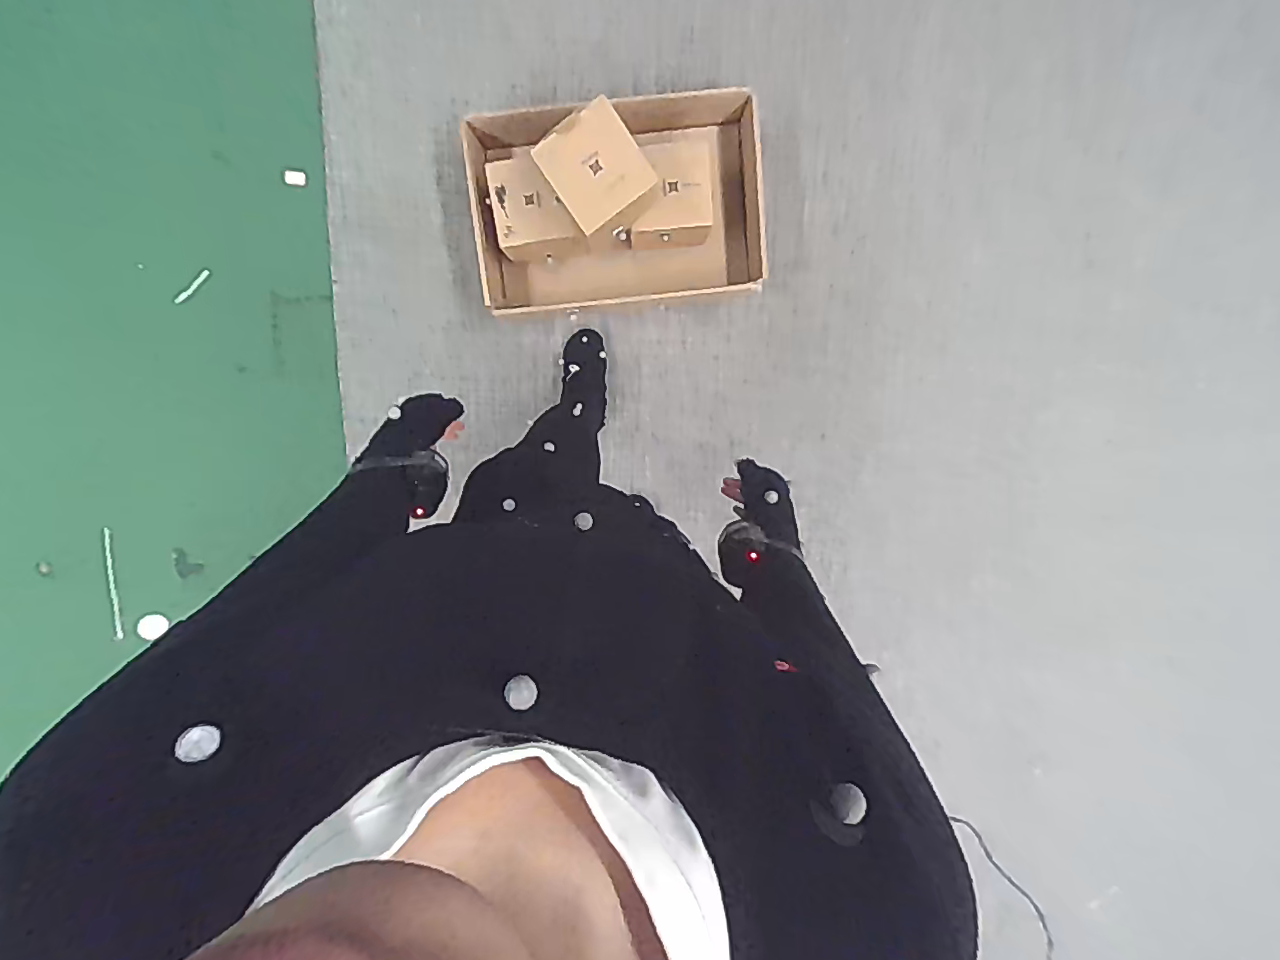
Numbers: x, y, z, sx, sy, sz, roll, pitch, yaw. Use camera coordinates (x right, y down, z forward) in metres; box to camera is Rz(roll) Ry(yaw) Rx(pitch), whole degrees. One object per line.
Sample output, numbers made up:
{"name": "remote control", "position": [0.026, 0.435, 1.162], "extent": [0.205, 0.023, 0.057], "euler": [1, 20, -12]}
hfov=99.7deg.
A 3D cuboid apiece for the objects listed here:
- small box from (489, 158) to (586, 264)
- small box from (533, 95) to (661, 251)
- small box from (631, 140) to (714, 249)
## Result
{"name": "small box", "position": [-0.217, -0.591, 1.196], "extent": [0.179, 0.176, 0.168], "euler": [-9, 100, -1]}
{"name": "small box", "position": [-0.078, -0.572, 1.038], "extent": [0.168, 0.176, 0.179], "euler": [-36, 100, 6]}
{"name": "small box", "position": [0.063, -0.620, 1.194], "extent": [0.179, 0.176, 0.168], "euler": [-5, 101, 1]}
